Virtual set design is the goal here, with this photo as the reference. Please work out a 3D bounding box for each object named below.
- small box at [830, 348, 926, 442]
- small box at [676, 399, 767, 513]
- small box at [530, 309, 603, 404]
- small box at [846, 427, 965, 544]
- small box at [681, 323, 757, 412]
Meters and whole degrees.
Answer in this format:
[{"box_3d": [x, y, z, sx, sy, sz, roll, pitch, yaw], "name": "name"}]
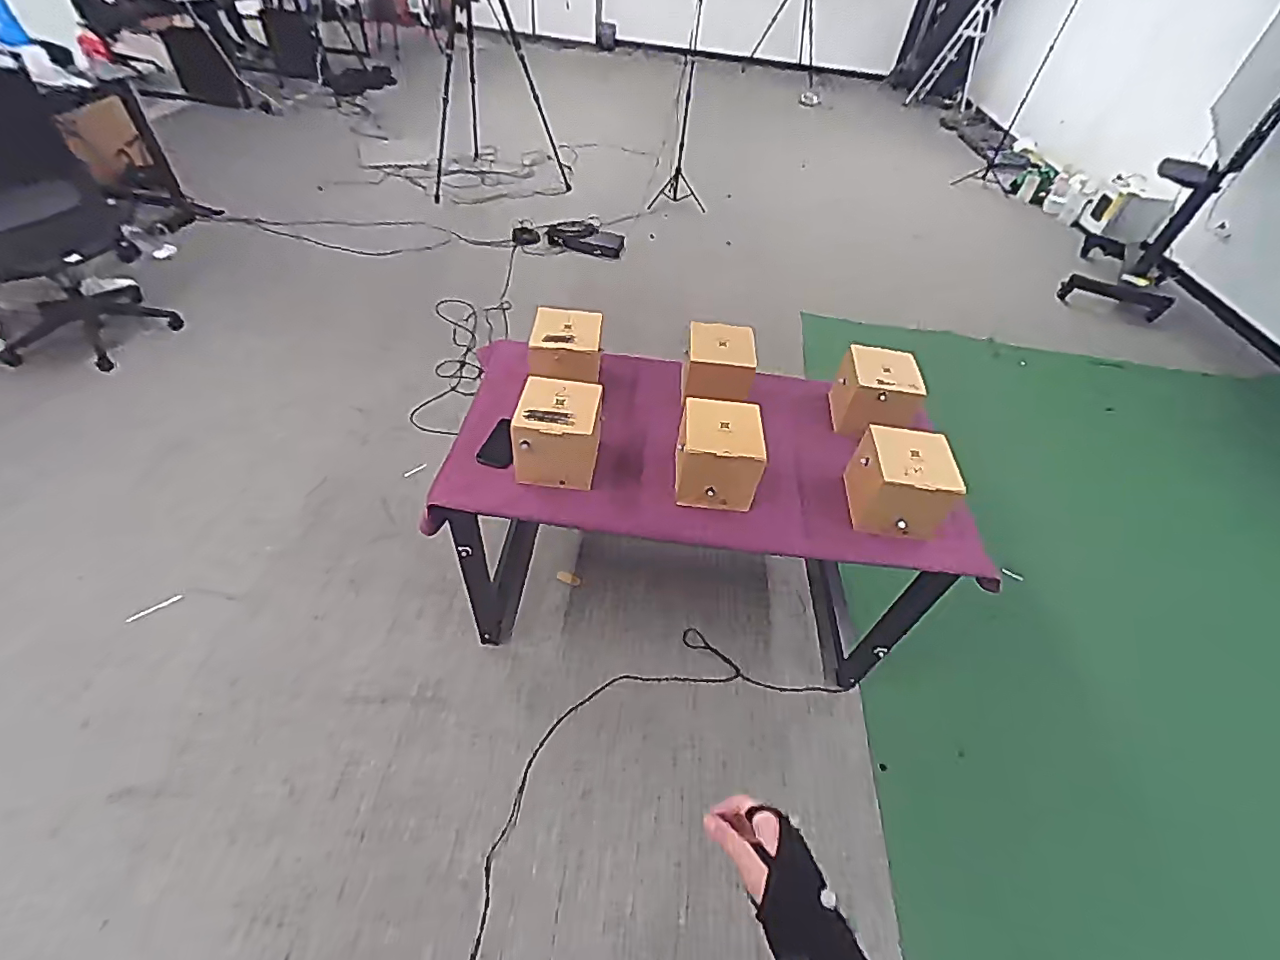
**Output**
[{"box_3d": [0.607, -0.214, 1.405, 0.168, 0.176, 0.179, 9, 47, 2], "name": "small box"}, {"box_3d": [0.173, -0.053, 1.200, 0.168, 0.176, 0.179, 6, 47, -2], "name": "small box"}, {"box_3d": [-0.185, -0.314, 1.392, 0.168, 0.176, 0.179, 5, 47, -4], "name": "small box"}, {"box_3d": [0.567, 0.013, 1.186, 0.168, 0.176, 0.179, 8, 47, 2], "name": "small box"}, {"box_3d": [0.202, -0.283, 1.417, 0.168, 0.176, 0.179, 7, 48, 0], "name": "small box"}]
